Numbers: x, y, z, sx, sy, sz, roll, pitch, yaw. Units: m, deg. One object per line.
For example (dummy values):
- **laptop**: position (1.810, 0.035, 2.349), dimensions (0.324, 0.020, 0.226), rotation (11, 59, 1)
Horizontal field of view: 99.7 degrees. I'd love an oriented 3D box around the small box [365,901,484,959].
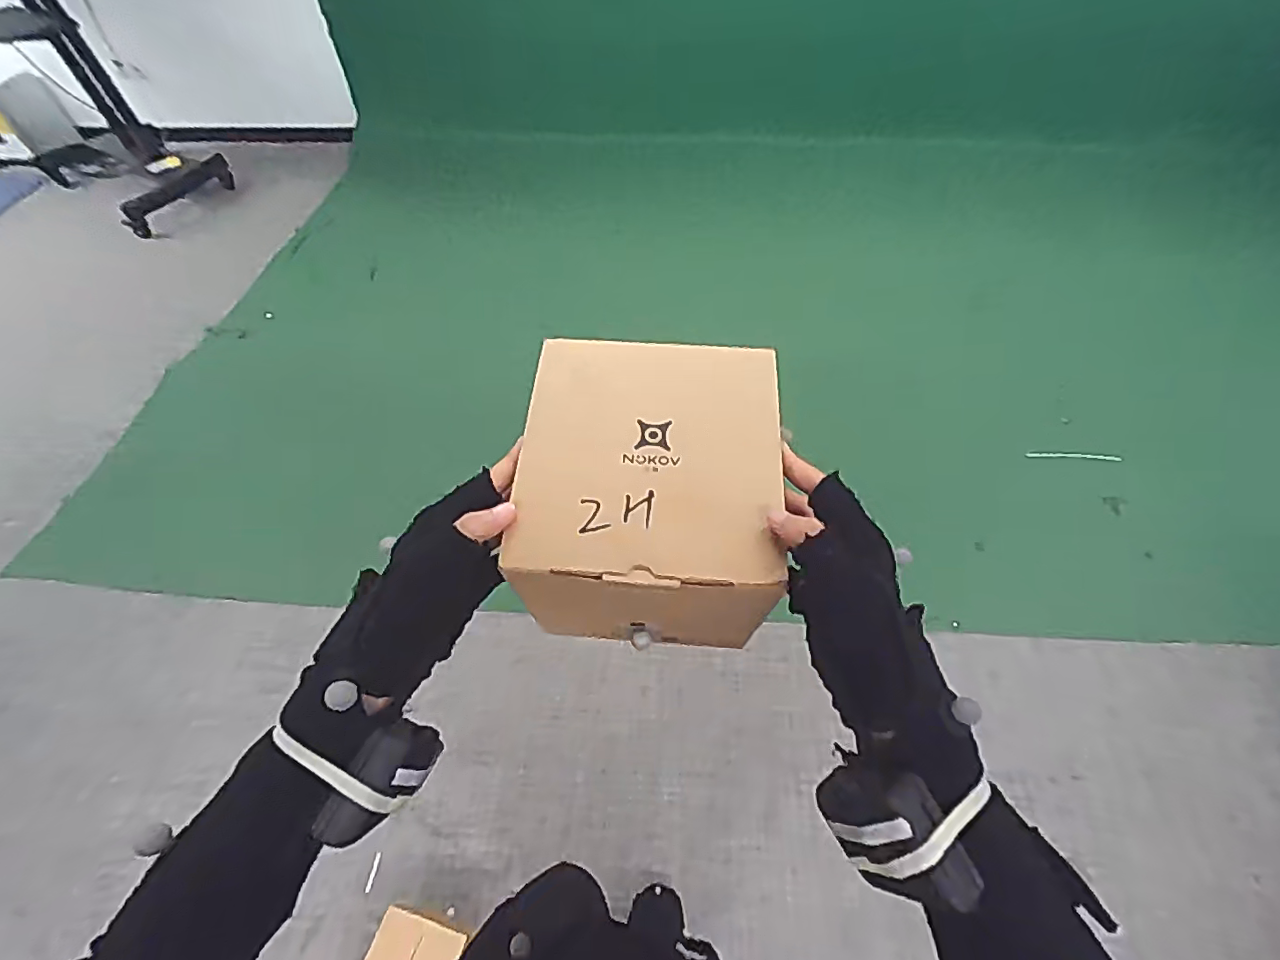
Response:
- **small box**: position (-0.416, 0.932, 1.023), dimensions (0.168, 0.176, 0.179), rotation (14, 53, 10)
